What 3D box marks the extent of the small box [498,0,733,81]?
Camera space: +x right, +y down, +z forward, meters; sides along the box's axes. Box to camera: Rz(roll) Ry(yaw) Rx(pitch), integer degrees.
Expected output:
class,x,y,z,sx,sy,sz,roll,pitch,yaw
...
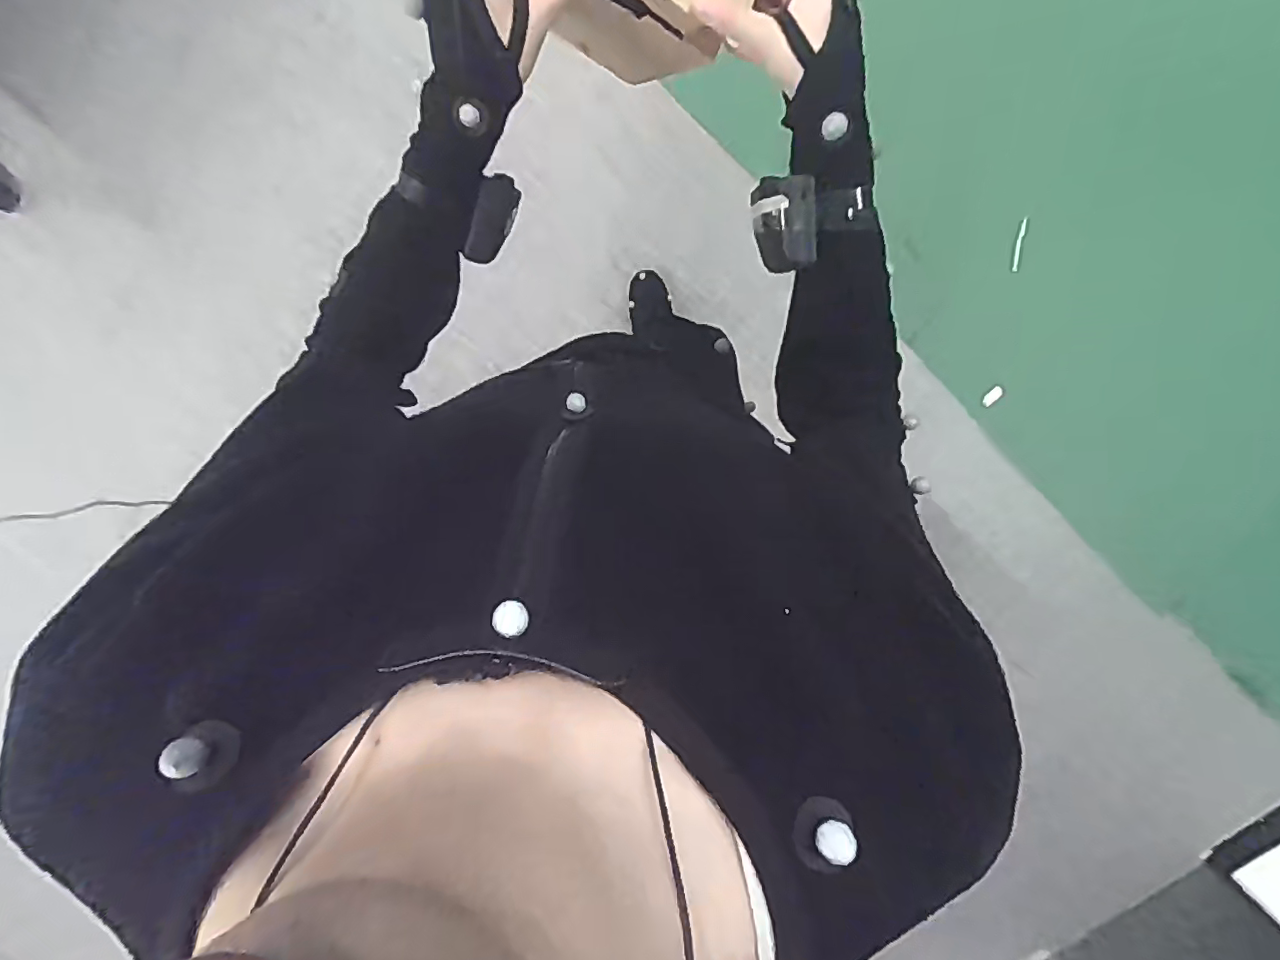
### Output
class,x,y,z,sx,sy,sz,roll,pitch,yaw
small box,-0.017,-0.427,0.389,0.168,0.176,0.179,11,113,-31
